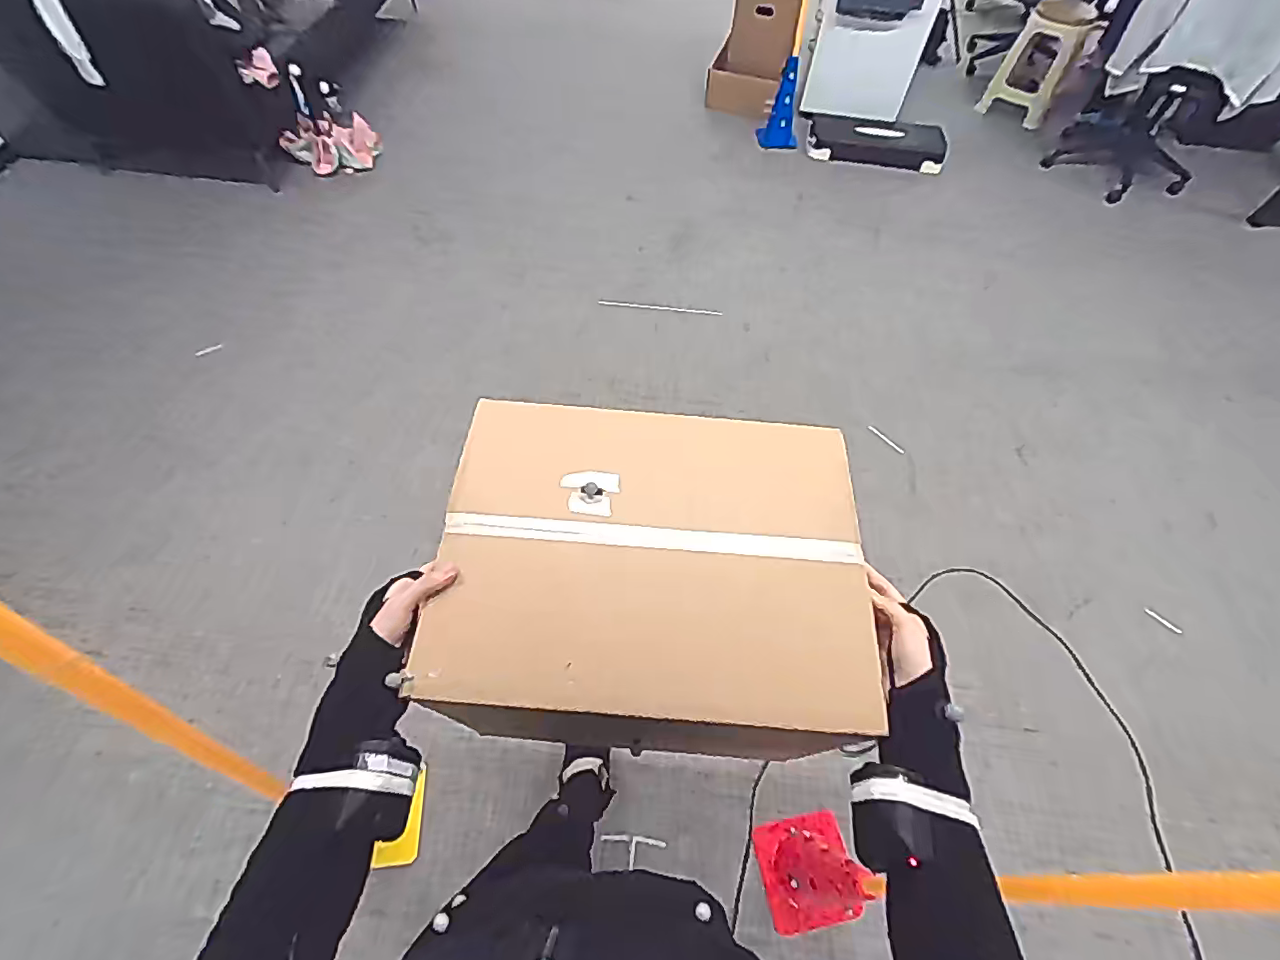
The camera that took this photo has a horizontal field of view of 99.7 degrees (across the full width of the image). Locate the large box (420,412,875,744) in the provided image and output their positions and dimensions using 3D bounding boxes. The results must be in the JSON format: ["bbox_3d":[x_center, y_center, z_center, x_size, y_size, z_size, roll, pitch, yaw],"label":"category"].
[{"bbox_3d":[0.012,0.139,0.668,0.408,0.320,0.320,4,59,1],"label":"large box"}]
